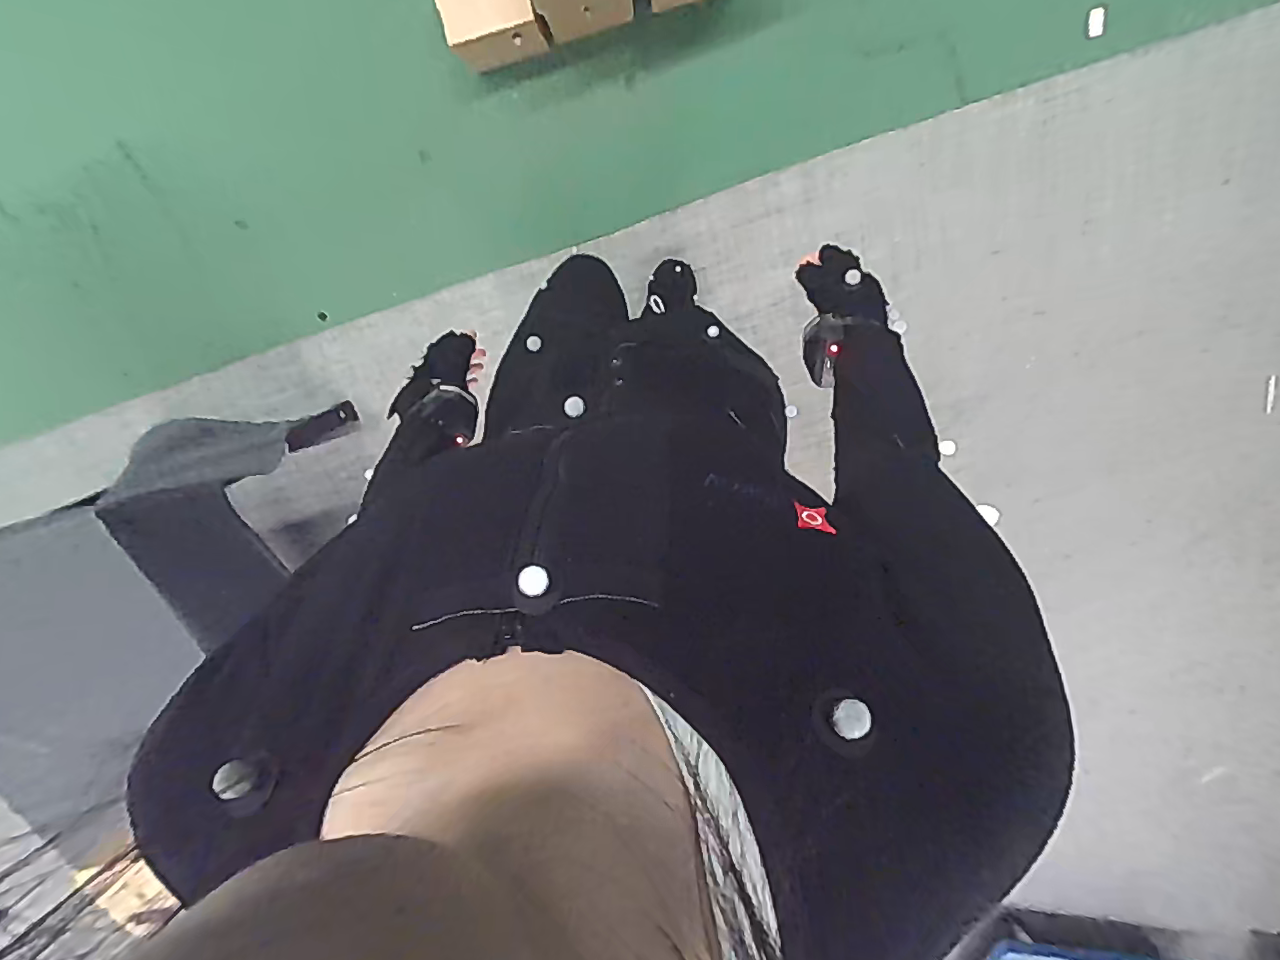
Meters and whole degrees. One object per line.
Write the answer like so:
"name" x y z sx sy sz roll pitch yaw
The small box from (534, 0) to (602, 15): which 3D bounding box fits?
"small box" -0.120 -0.928 0.905 0.179 0.176 0.168 -10 112 7
